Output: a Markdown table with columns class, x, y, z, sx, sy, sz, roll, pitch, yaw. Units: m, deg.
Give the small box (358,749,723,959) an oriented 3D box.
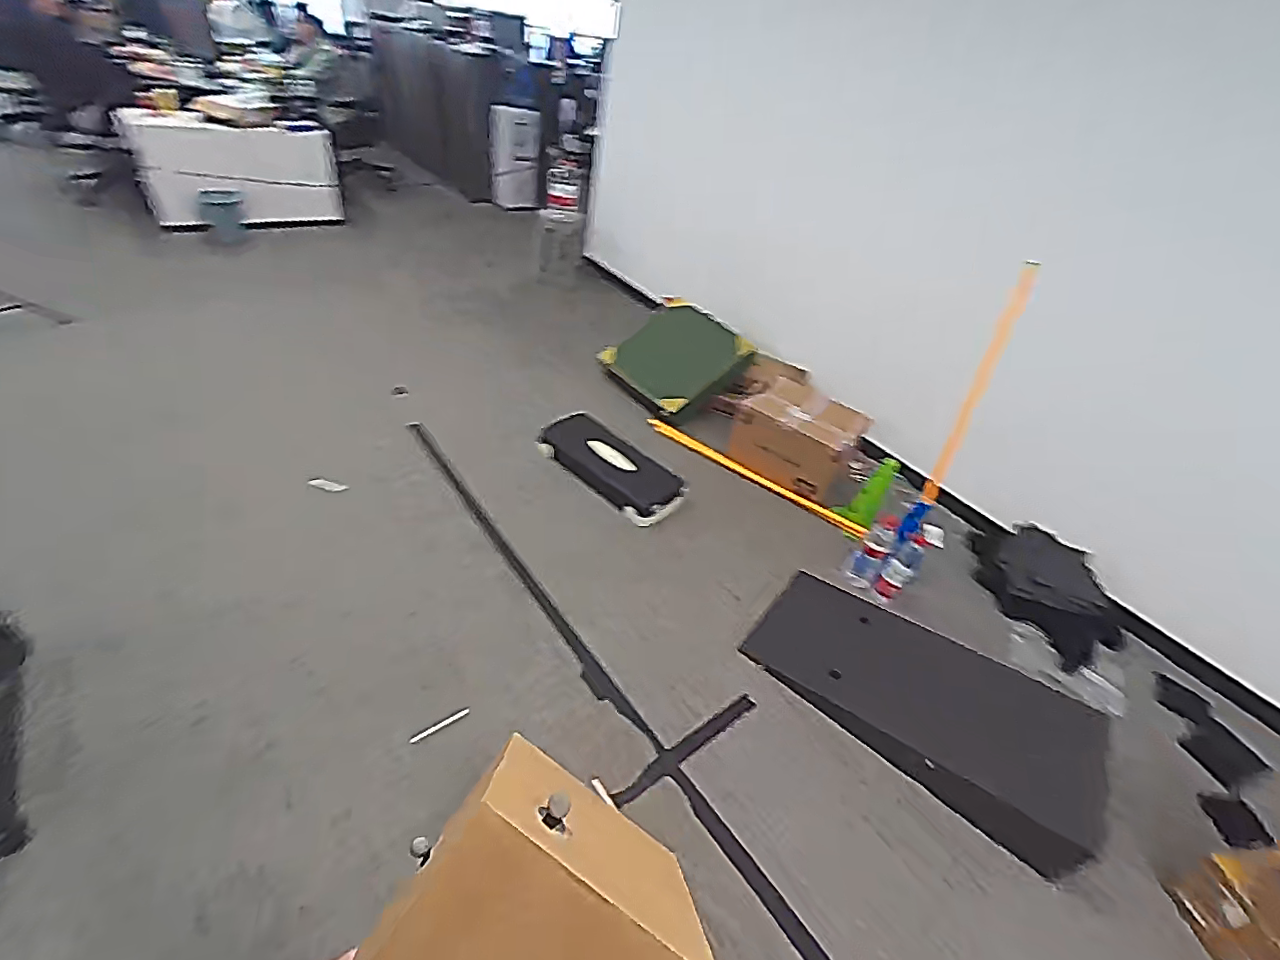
| class | x | y | z | sx | sy | sz | roll | pitch | yaw |
| --- | --- | --- | --- | --- | --- | --- | --- | --- | --- |
| small box | -0.074 | 0.307 | 0.357 | 0.179 | 0.176 | 0.168 | 36 | 76 | 2 |
